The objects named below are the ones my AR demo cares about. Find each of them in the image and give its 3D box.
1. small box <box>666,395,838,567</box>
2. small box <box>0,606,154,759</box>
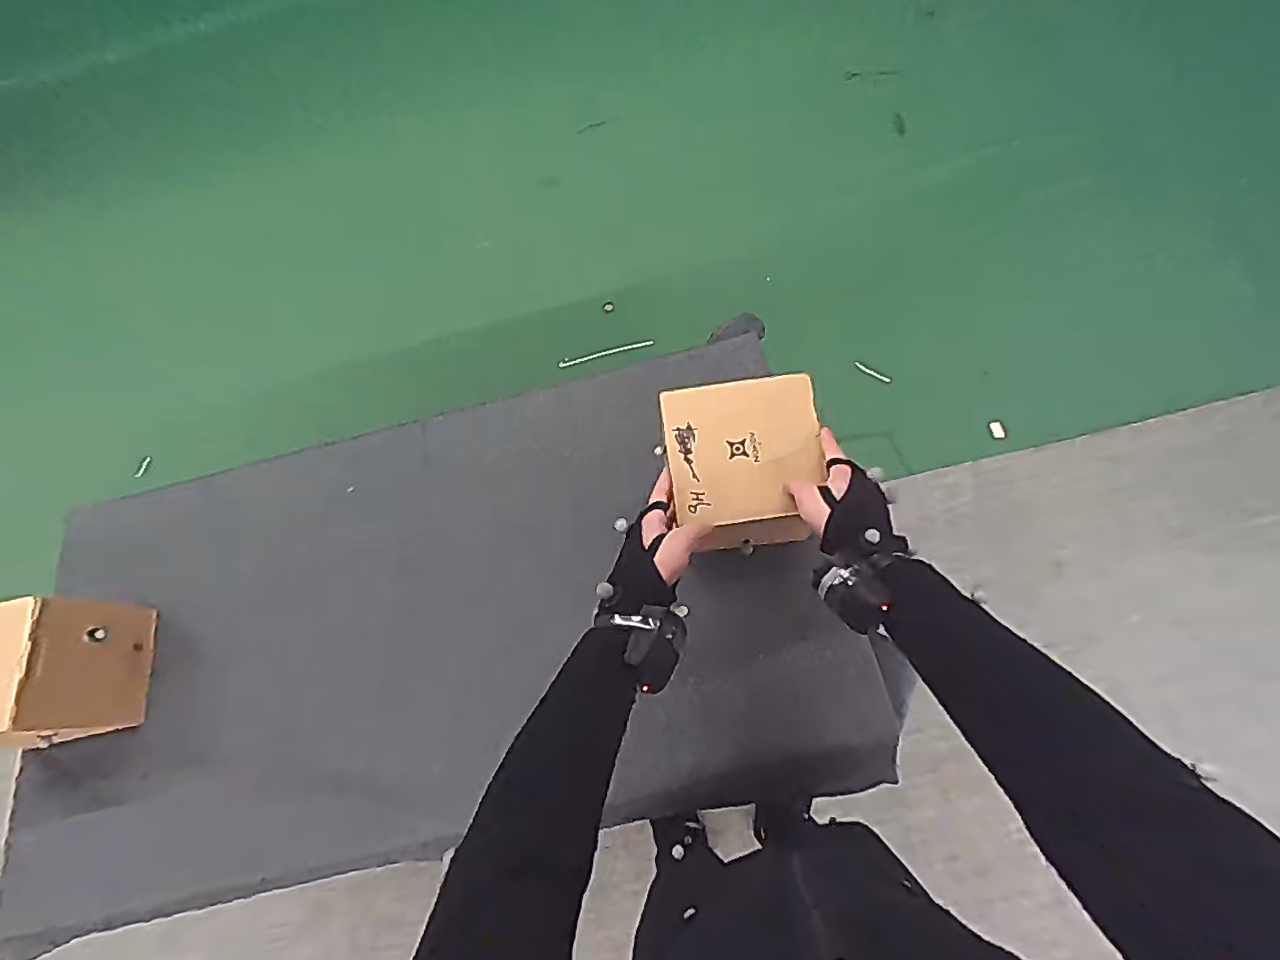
[{"bbox_3d":[0.127,0.010,0.692,0.179,0.176,0.168,-7,70,1],"label":"small box"},{"bbox_3d":[-0.819,0.276,0.728,0.179,0.176,0.168,-11,66,3],"label":"small box"}]
